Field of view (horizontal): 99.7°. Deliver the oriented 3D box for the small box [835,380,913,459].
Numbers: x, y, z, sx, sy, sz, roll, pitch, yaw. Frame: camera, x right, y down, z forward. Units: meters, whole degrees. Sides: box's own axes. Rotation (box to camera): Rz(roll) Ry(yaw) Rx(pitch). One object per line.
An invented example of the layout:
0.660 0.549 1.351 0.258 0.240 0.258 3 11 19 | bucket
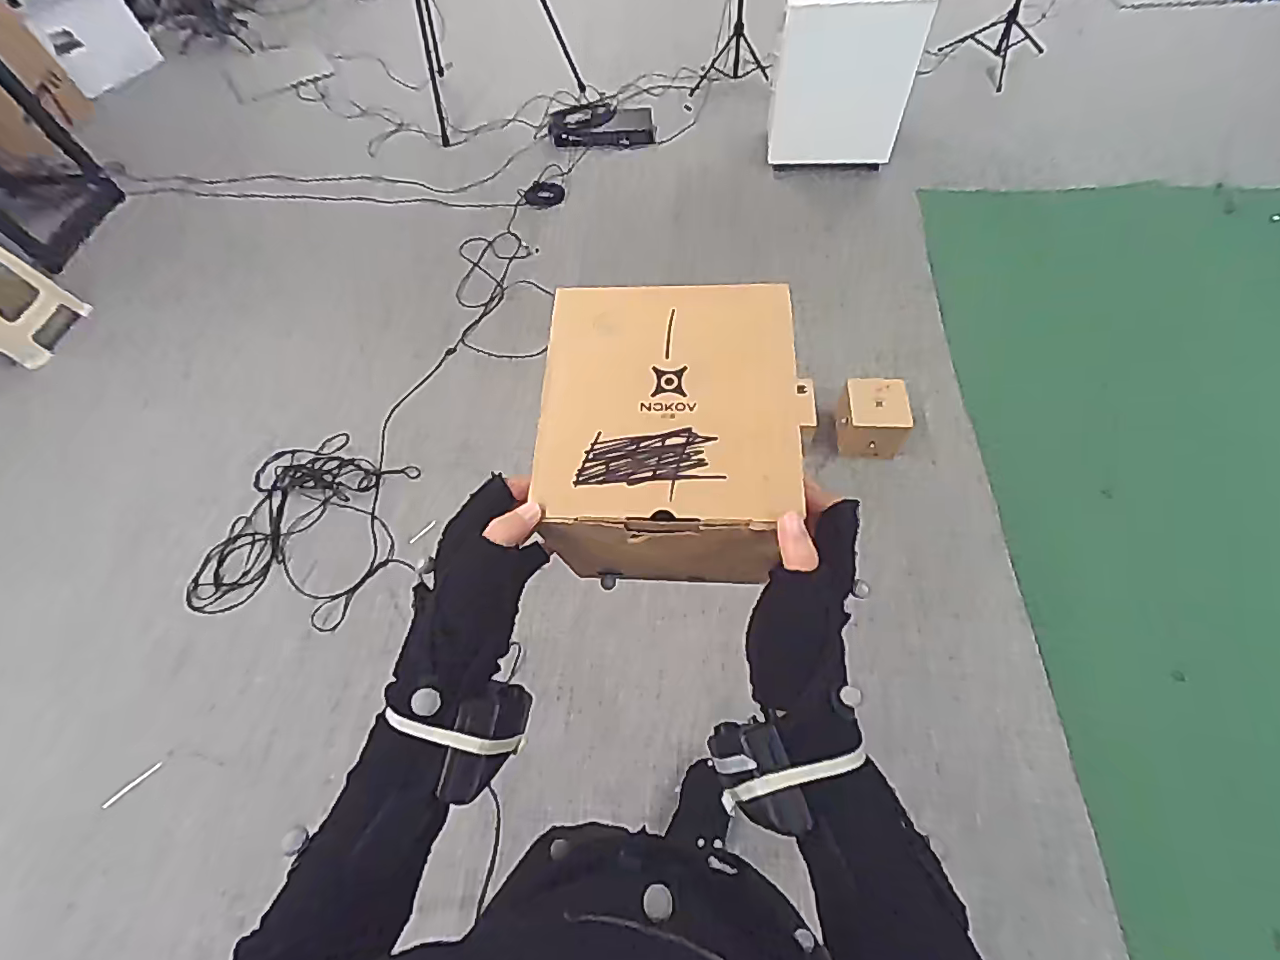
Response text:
0.691 -0.177 1.617 0.168 0.176 0.179 2 60 6 | small box
